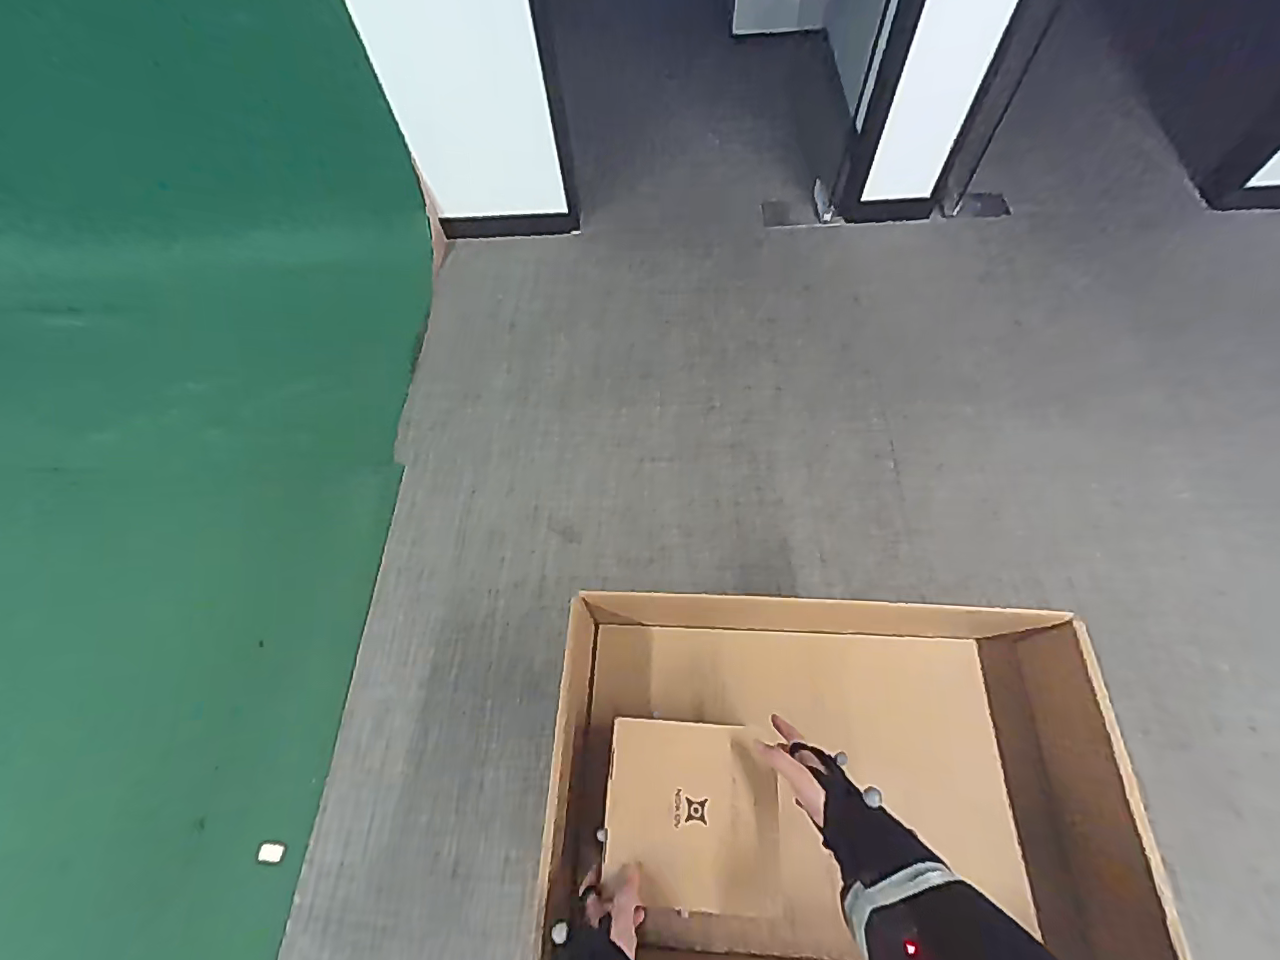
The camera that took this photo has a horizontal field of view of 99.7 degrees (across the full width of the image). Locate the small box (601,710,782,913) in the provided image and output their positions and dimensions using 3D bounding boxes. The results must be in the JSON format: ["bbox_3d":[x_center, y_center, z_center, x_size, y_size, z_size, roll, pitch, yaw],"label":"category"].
[{"bbox_3d":[0.061,0.365,0.618,0.179,0.176,0.168,1,64,6],"label":"small box"}]
